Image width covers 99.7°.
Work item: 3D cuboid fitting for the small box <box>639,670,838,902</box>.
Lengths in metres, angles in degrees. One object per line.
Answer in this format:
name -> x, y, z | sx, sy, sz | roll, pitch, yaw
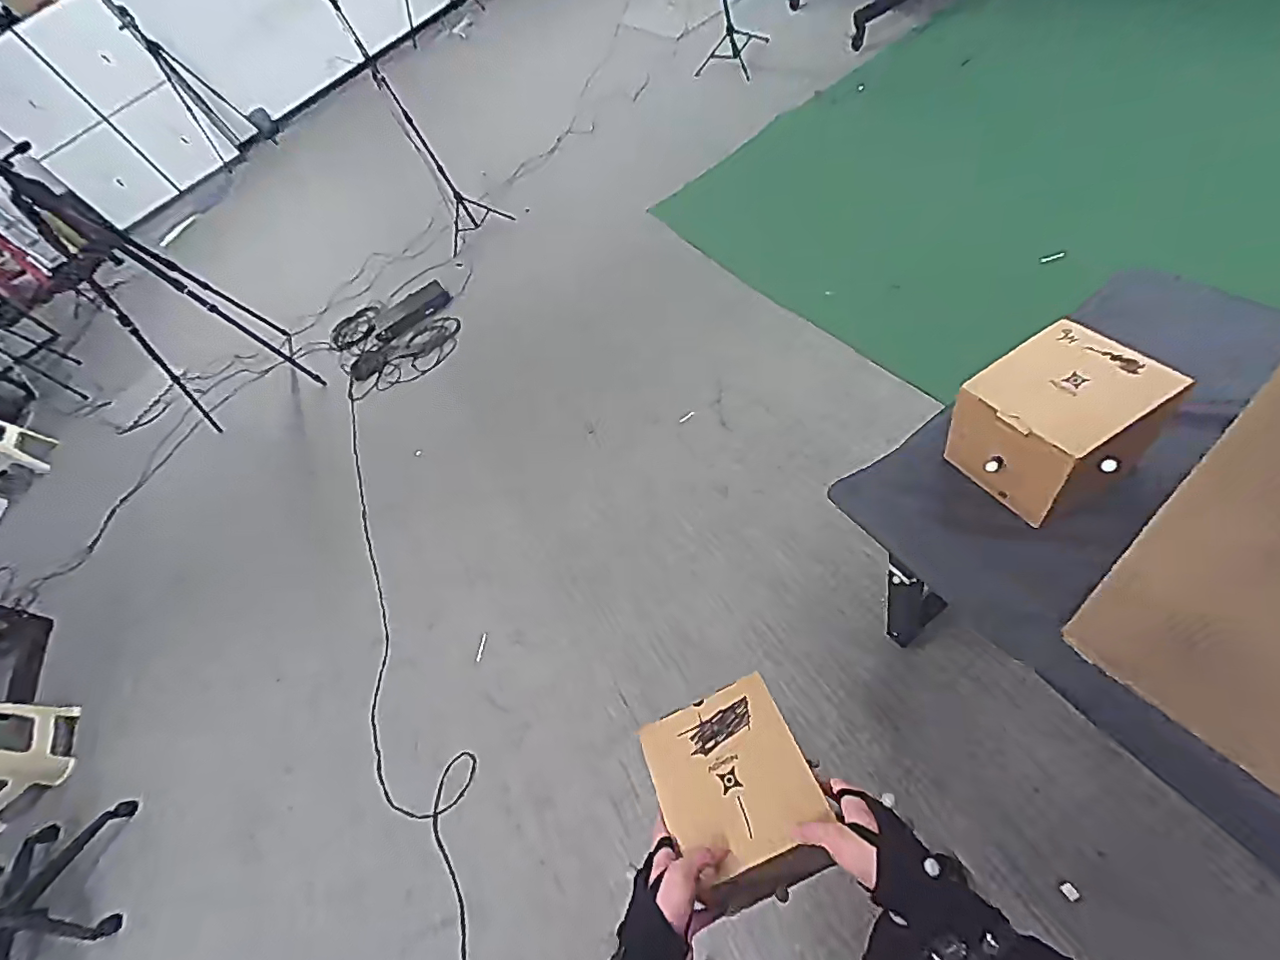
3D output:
small box -> 0.119, 0.371, 0.655 | 0.168, 0.176, 0.179 | -26, 43, 1
